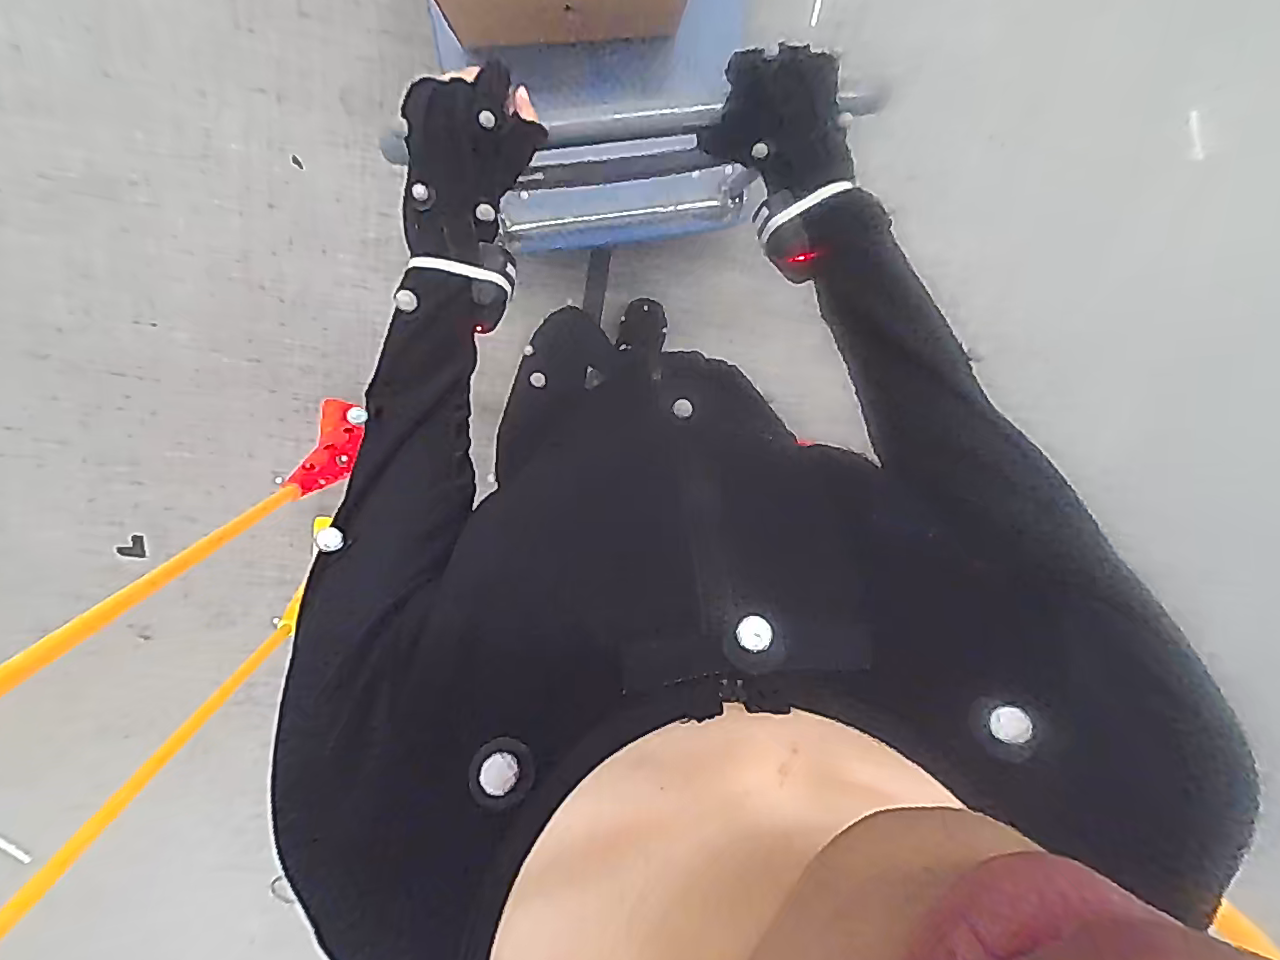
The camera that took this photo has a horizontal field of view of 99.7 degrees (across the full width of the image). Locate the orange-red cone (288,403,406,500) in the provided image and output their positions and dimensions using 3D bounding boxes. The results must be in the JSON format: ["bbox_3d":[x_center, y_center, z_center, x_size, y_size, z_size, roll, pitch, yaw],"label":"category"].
[{"bbox_3d":[-0.709,-0.034,1.253,0.198,0.360,0.199,15,106,-11],"label":"orange-red cone"}]

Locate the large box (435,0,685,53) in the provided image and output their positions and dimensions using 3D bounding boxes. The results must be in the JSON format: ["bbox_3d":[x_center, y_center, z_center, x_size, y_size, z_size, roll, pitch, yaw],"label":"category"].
[{"bbox_3d":[-0.135,-0.914,0.834,0.408,0.320,0.320,-6,110,-2],"label":"large box"}]
